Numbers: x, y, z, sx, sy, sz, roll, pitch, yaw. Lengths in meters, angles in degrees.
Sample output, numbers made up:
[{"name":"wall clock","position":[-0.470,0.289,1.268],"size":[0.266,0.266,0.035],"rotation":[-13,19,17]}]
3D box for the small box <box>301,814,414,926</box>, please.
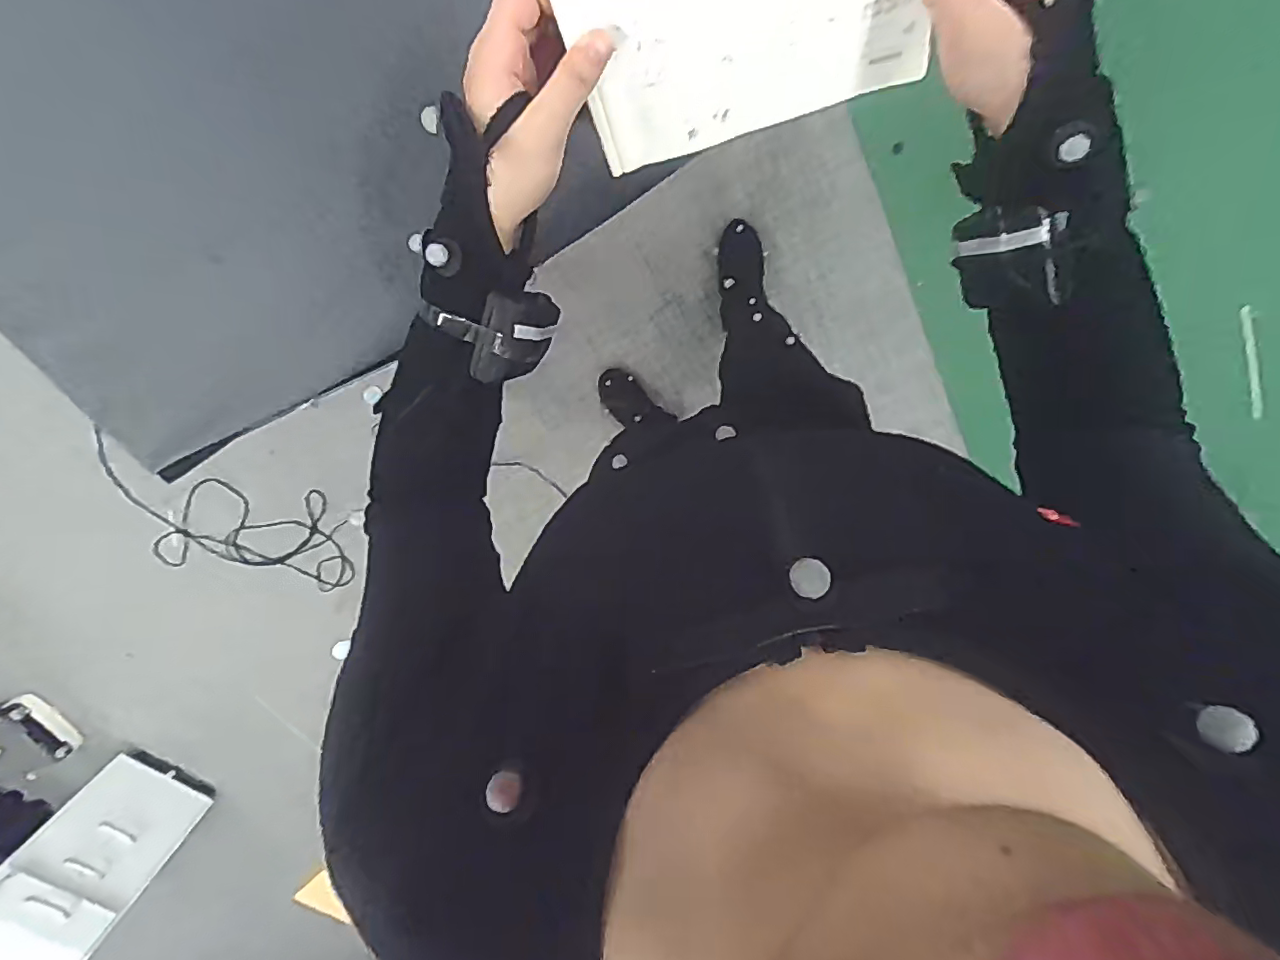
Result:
[{"name":"small box","position":[-0.754,1.042,1.461],"size":[0.179,0.176,0.168],"rotation":[40,109,-14]}]
